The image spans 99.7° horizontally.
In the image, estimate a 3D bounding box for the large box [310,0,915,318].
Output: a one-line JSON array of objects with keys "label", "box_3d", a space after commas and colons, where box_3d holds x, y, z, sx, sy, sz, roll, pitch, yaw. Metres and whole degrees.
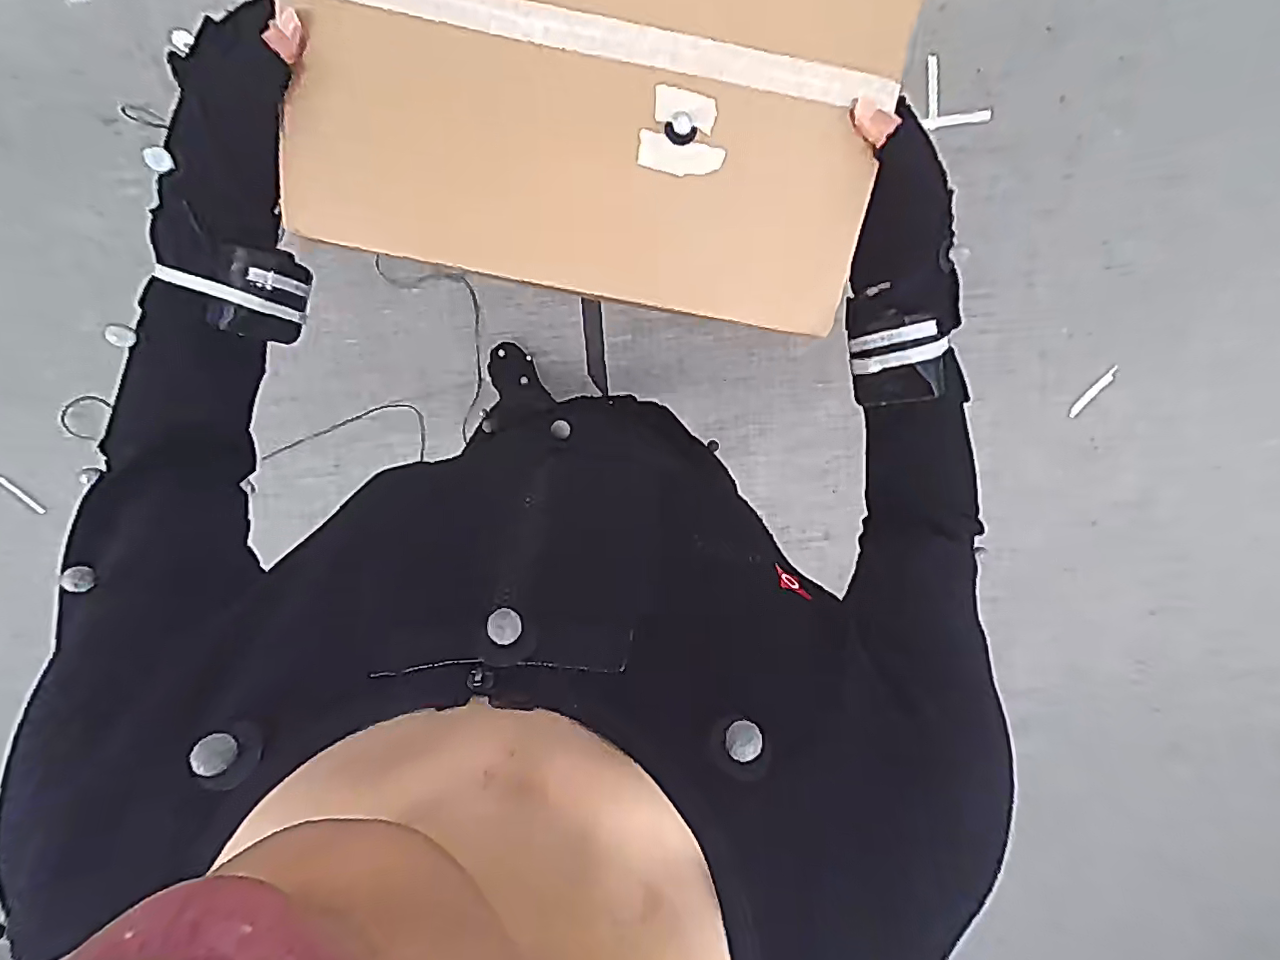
[{"label": "large box", "box_3d": [-0.023, -0.342, 0.509, 0.408, 0.320, 0.320, 9, 108, -3]}]
